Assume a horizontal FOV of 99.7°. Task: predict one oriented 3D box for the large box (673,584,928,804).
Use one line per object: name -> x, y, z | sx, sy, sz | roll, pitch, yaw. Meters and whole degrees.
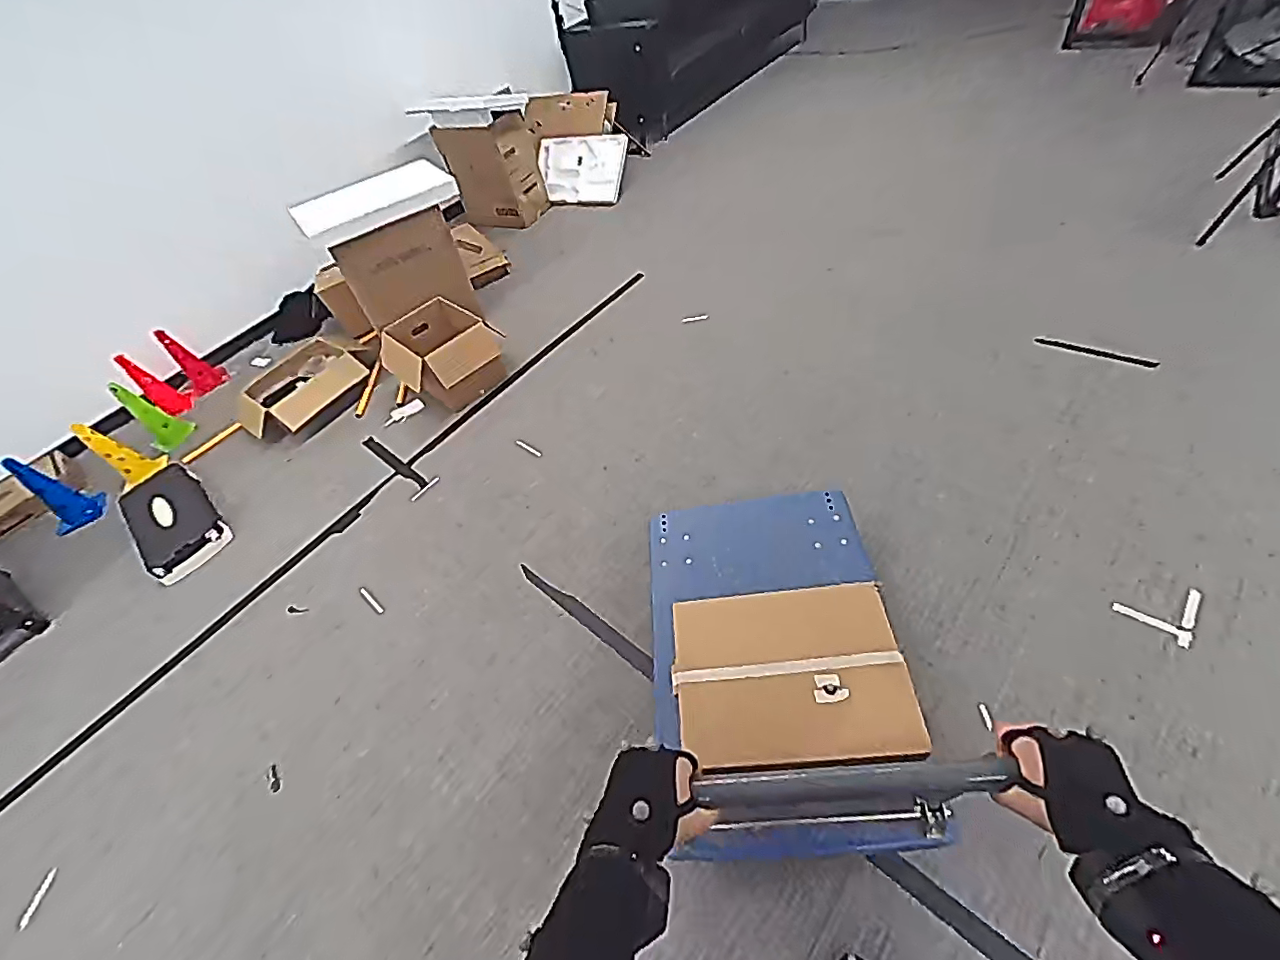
large box -> 0.292, 0.443, 1.102 | 0.408, 0.320, 0.320 | -7, 49, 6
